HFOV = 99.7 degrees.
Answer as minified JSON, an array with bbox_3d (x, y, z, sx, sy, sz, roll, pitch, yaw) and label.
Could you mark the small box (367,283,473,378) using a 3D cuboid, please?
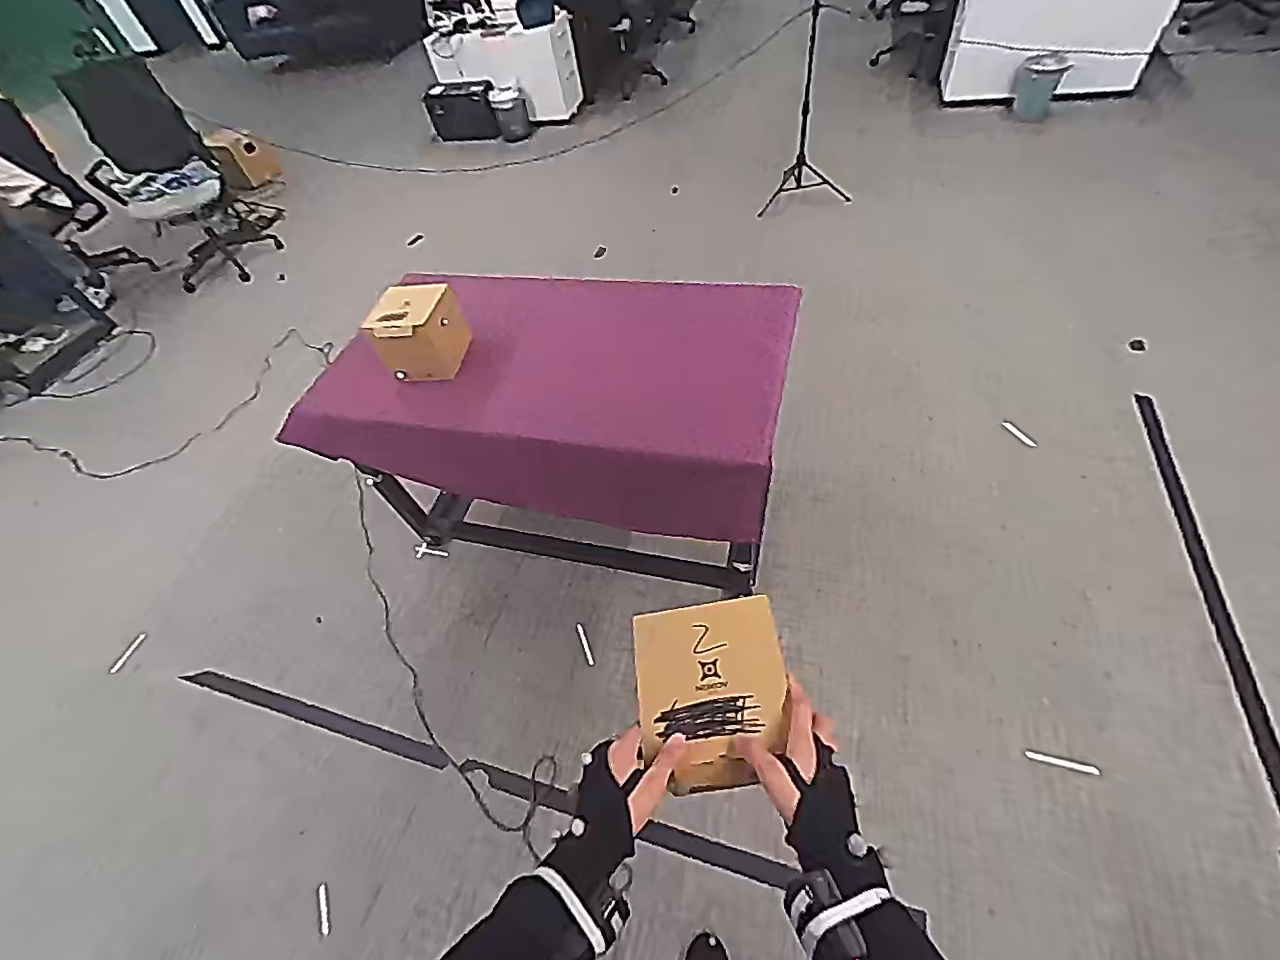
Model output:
[{"bbox_3d":[-0.546,-0.374,1.374,0.168,0.176,0.179,1,52,10],"label":"small box"}]
